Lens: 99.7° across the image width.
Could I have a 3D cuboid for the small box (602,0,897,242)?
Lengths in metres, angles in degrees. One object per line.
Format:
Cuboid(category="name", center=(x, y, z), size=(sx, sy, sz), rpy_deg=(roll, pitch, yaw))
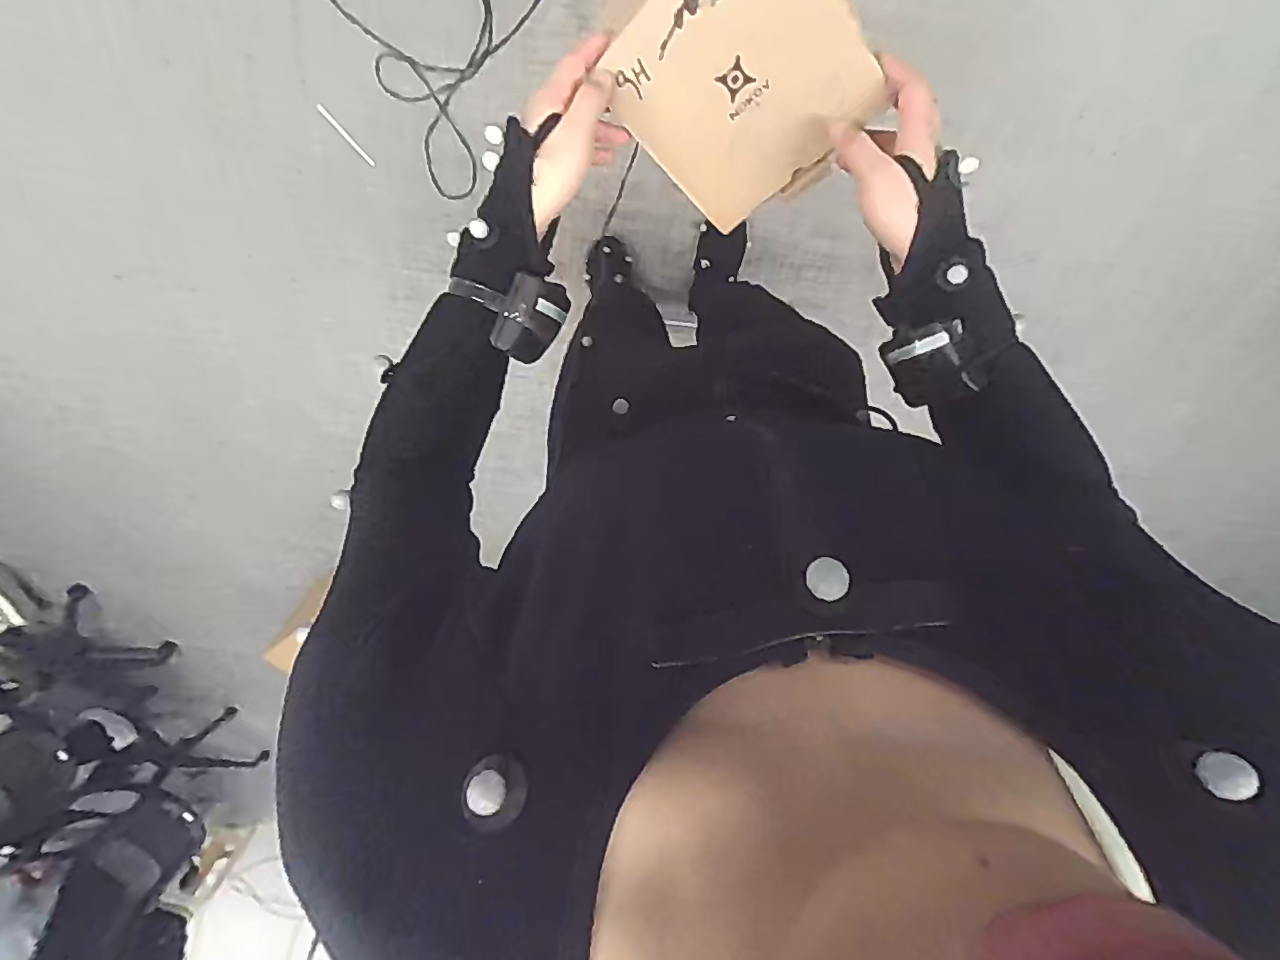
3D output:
Cuboid(category="small box", center=(0.091, -0.356, 0.461), size=(0.168, 0.176, 0.179), rpy_deg=(-26, 137, 37))
